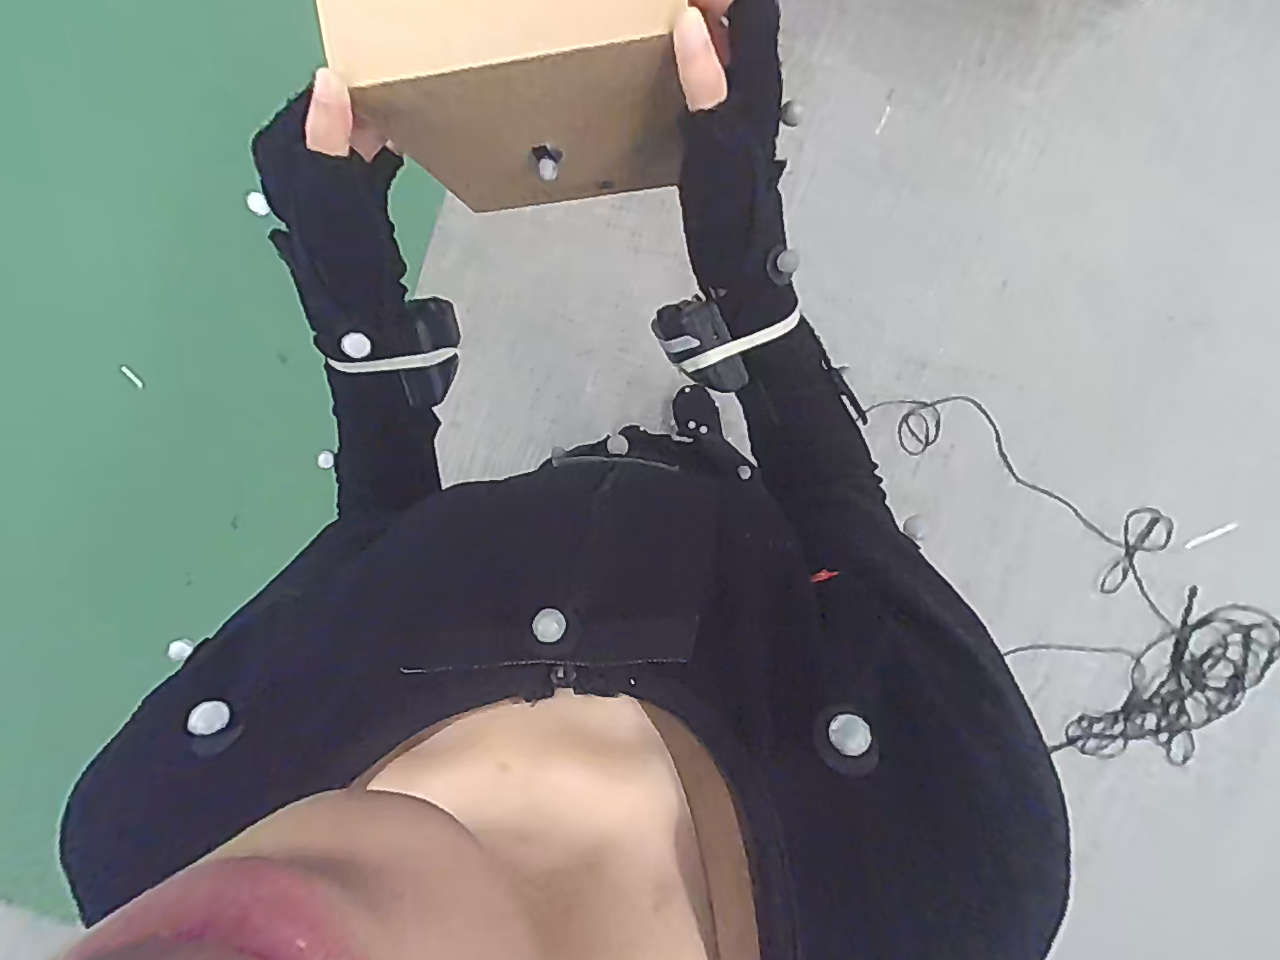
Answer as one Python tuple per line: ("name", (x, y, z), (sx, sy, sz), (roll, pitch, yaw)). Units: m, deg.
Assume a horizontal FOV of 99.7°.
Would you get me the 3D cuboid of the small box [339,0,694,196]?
("small box", (-0.055, -0.287, 0.316), (0.168, 0.176, 0.179), (-5, 98, 5))
